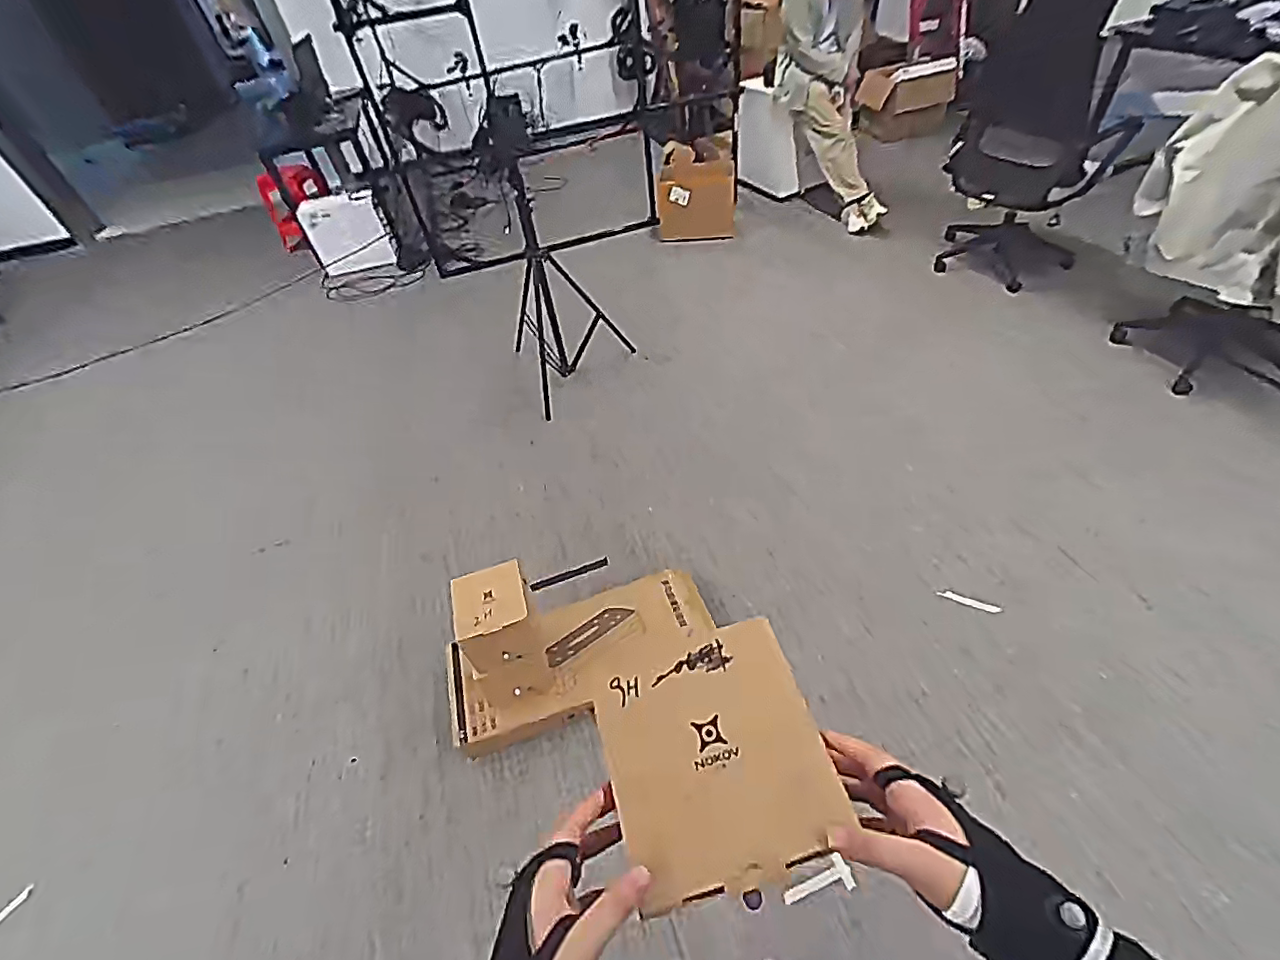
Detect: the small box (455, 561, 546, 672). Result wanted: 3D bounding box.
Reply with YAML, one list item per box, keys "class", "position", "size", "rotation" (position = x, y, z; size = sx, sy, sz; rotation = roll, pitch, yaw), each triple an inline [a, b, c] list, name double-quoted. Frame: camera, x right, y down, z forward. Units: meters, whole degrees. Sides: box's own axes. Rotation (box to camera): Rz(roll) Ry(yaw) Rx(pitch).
- class: "small box"
  position: [-0.338, 0.333, 1.315]
  size: [0.168, 0.176, 0.179]
  rotation: [-17, 47, -8]

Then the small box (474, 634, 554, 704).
- class: "small box"
  position: [-0.337, 0.456, 1.428]
  size: [0.168, 0.176, 0.179]
  rotation: [-18, 48, -9]
